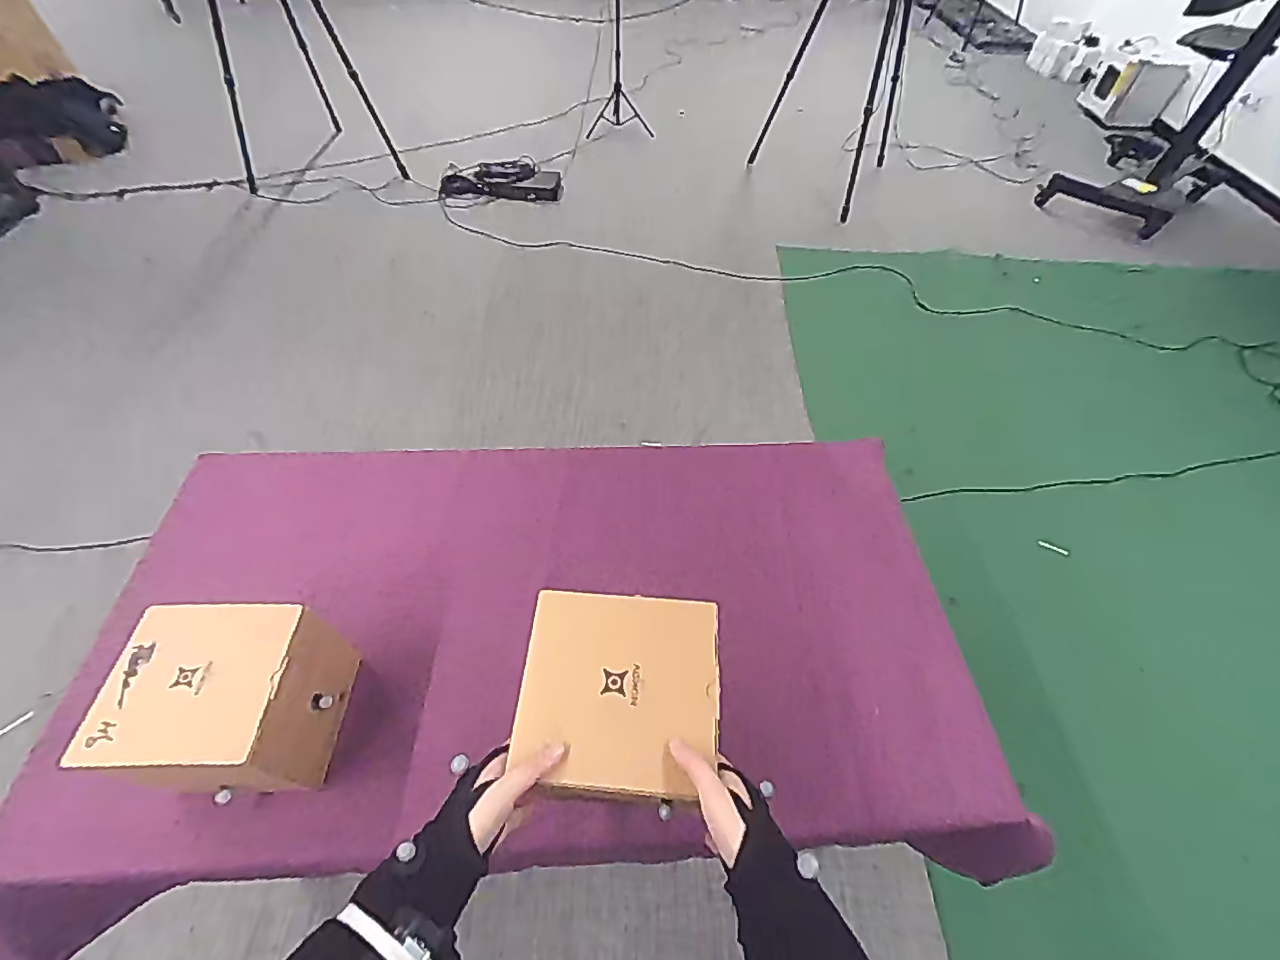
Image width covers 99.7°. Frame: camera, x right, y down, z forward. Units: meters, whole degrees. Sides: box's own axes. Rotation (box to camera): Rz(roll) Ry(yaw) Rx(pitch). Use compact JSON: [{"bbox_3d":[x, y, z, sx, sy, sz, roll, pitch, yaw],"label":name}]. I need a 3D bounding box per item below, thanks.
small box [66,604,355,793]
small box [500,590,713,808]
[{"bbox_3d":[-0.465,0.257,0.629,0.179,0.176,0.168,1,52,-2],"label":"small box"},{"bbox_3d":[-0.021,0.226,0.547,0.179,0.176,0.168,4,55,3],"label":"small box"}]
